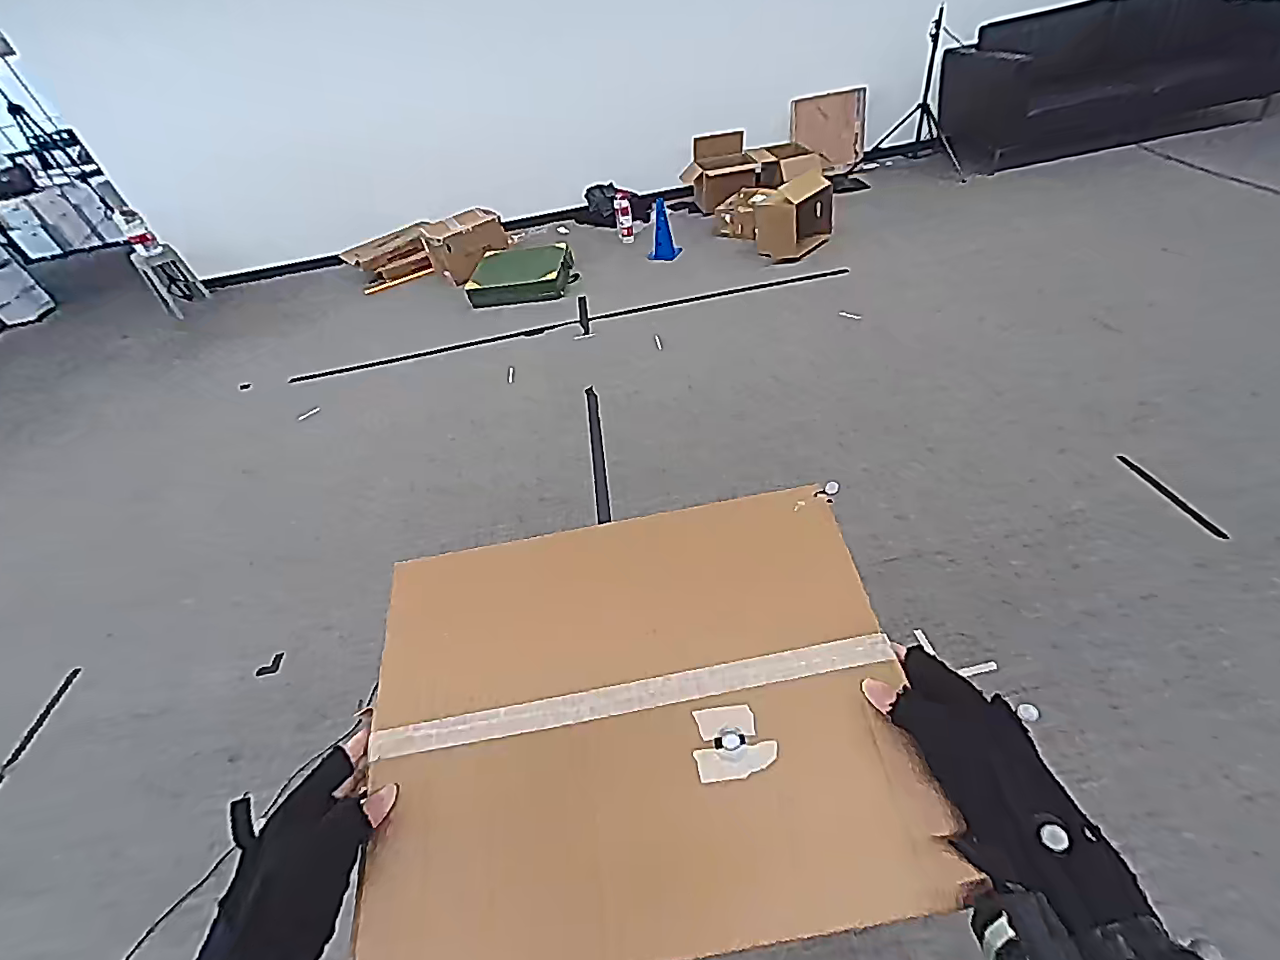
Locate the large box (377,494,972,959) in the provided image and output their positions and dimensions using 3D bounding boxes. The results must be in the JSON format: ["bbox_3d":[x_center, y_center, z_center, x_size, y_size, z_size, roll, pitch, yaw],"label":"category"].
[{"bbox_3d":[0.014,0.258,0.554,0.408,0.320,0.320,-11,56,0],"label":"large box"}]
